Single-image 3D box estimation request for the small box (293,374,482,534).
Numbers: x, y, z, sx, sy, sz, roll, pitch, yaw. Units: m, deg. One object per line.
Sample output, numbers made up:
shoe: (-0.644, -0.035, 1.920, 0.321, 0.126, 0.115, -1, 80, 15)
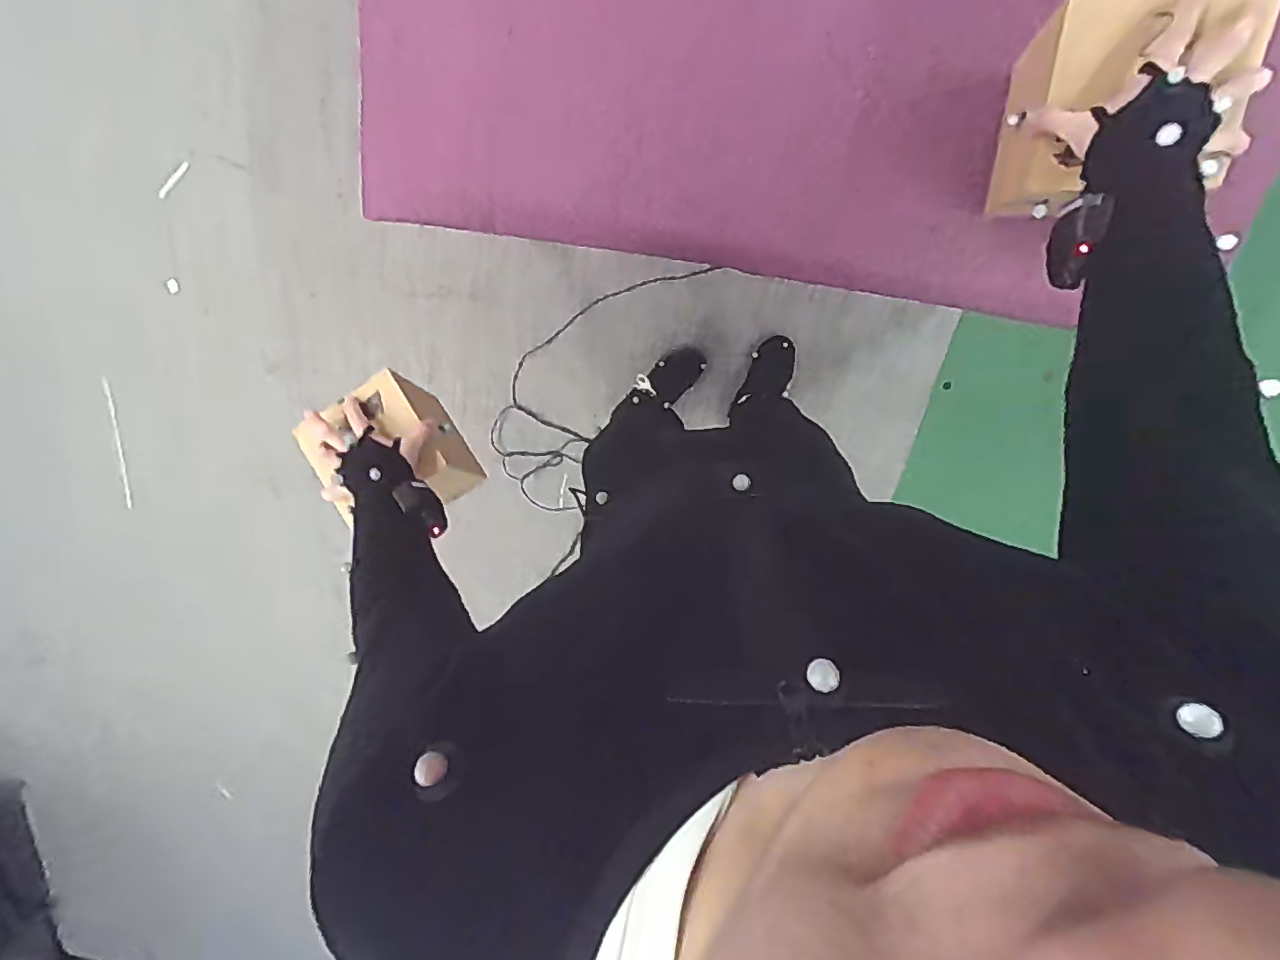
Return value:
small box: (-0.378, -0.028, 0.839, 0.168, 0.176, 0.179, -34, 83, -1)
